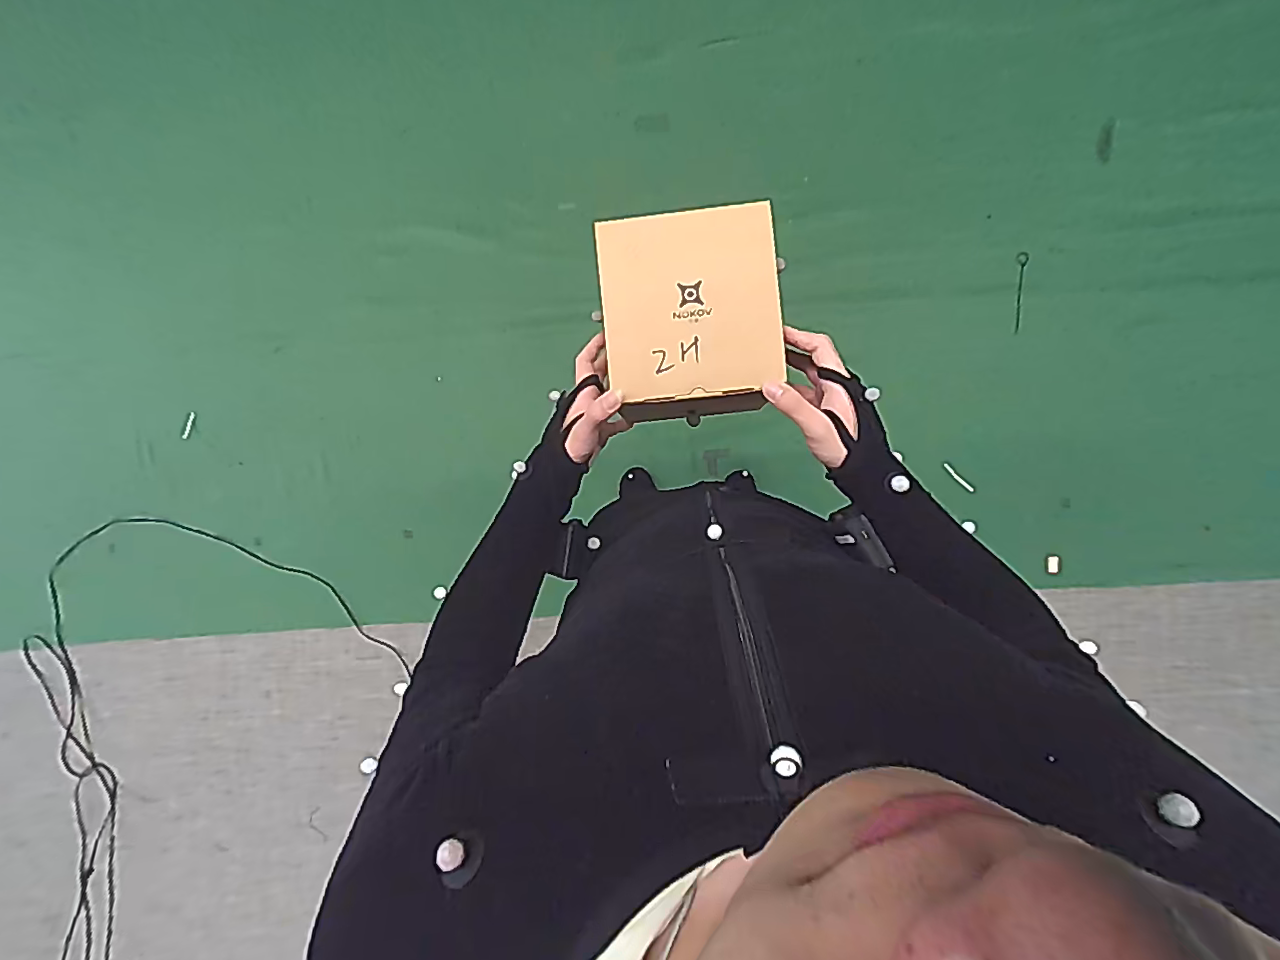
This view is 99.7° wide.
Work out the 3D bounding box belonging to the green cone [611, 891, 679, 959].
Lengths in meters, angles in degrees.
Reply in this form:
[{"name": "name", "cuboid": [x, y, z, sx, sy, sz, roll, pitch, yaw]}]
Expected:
[{"name": "green cone", "cuboid": [0.002, 1.351, 1.473, 0.202, 0.368, 0.200, -3, 91, 4]}]
